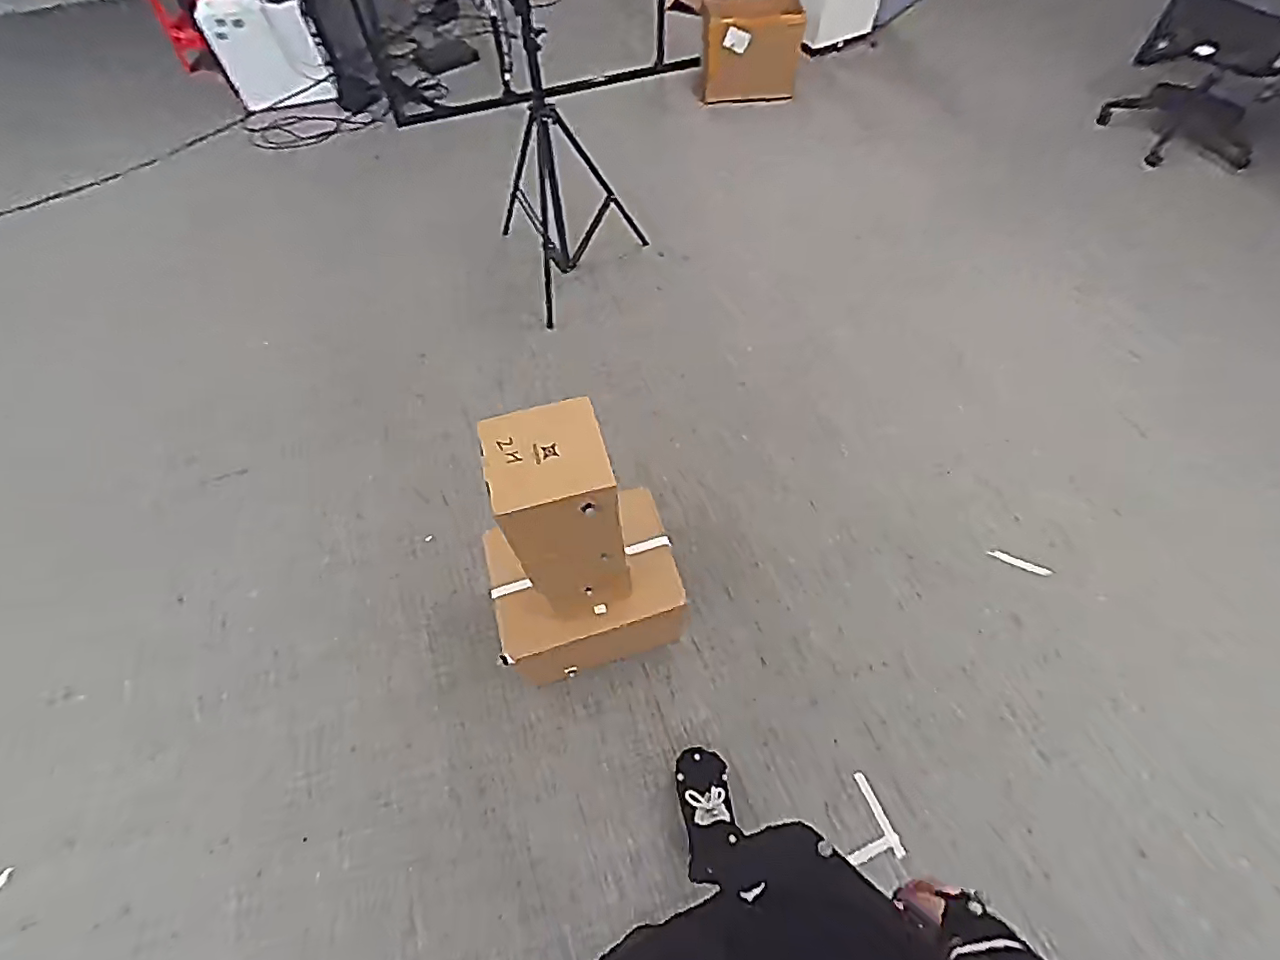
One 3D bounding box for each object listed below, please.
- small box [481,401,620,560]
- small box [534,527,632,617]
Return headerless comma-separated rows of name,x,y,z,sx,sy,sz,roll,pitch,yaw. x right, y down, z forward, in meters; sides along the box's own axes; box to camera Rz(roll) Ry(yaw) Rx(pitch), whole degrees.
small box,-0.133,0.005,0.848,0.179,0.176,0.168,-15,61,-7
small box,-0.122,0.169,1.133,0.179,0.176,0.168,-18,62,-9
